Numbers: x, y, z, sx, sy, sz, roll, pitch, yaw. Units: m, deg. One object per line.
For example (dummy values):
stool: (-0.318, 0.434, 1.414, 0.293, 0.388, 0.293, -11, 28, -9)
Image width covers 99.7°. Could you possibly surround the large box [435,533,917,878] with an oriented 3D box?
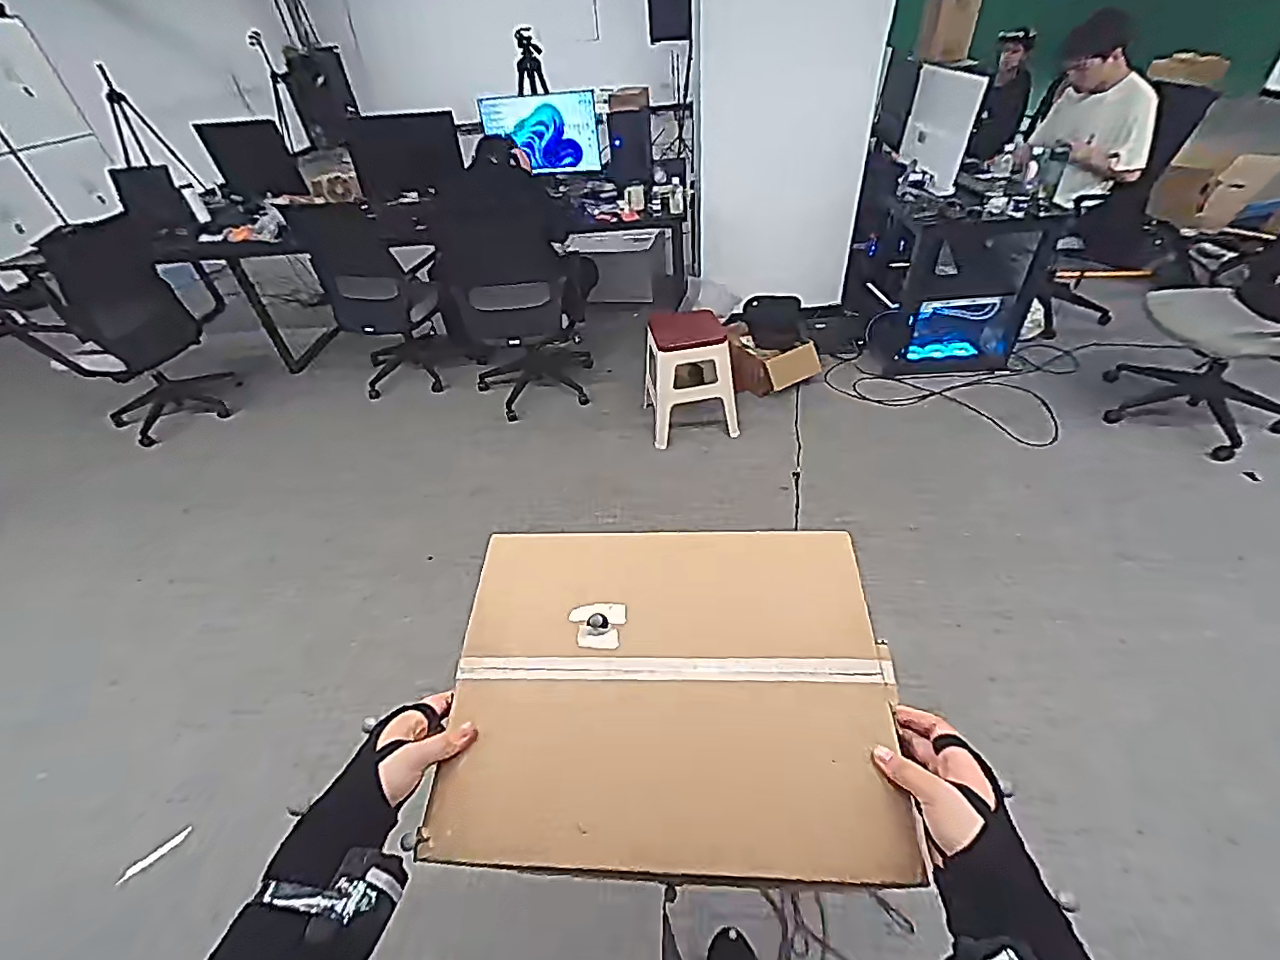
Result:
large box: (0.043, 0.281, 0.647, 0.408, 0.320, 0.320, -3, 51, 6)
